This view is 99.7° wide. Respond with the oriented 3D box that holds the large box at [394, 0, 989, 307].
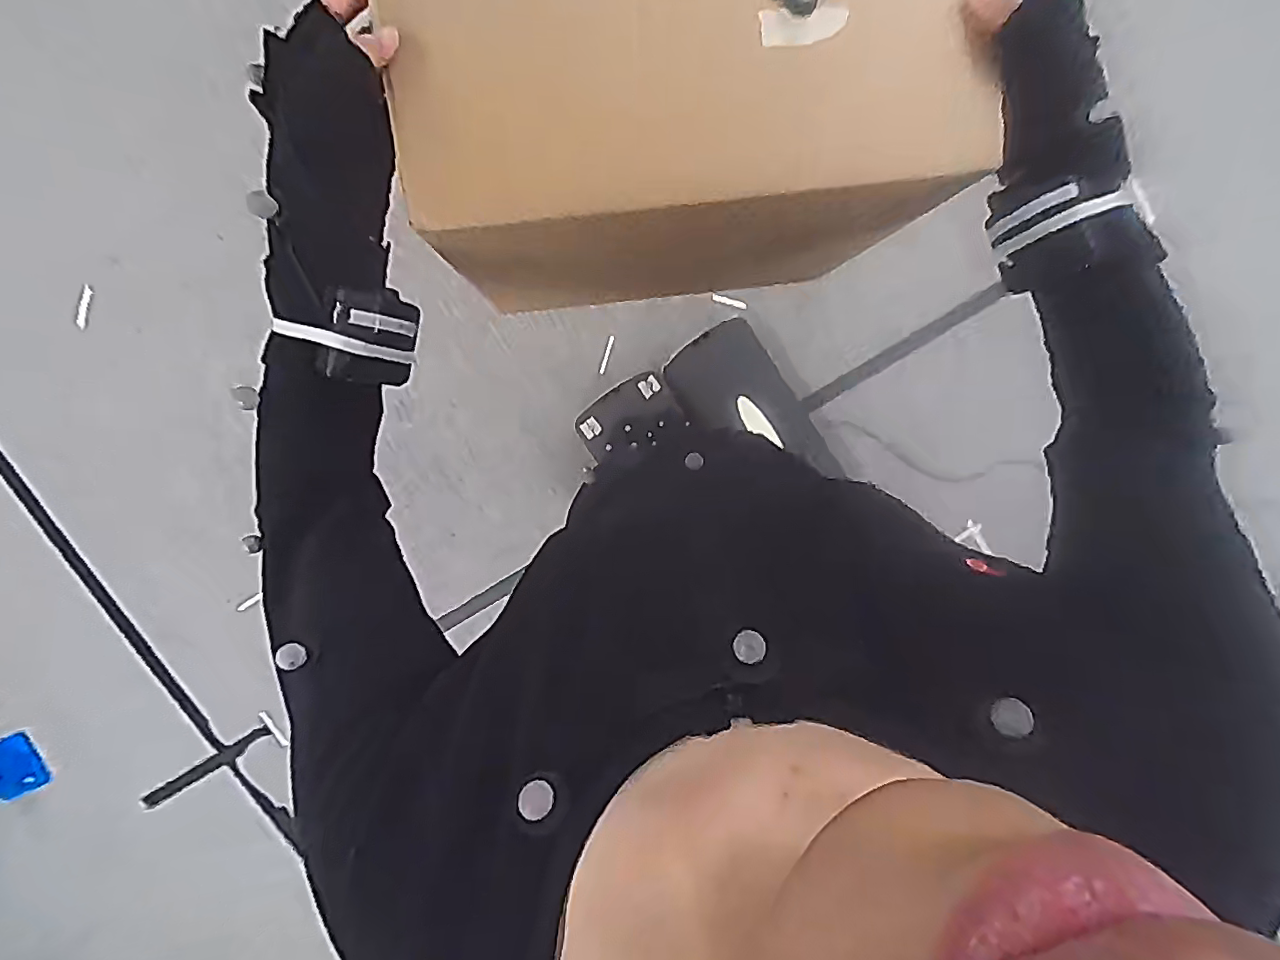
[{"bbox_3d":[0.021,-0.369,0.502,0.408,0.320,0.320,-8,98,-4],"label":"large box"}]
